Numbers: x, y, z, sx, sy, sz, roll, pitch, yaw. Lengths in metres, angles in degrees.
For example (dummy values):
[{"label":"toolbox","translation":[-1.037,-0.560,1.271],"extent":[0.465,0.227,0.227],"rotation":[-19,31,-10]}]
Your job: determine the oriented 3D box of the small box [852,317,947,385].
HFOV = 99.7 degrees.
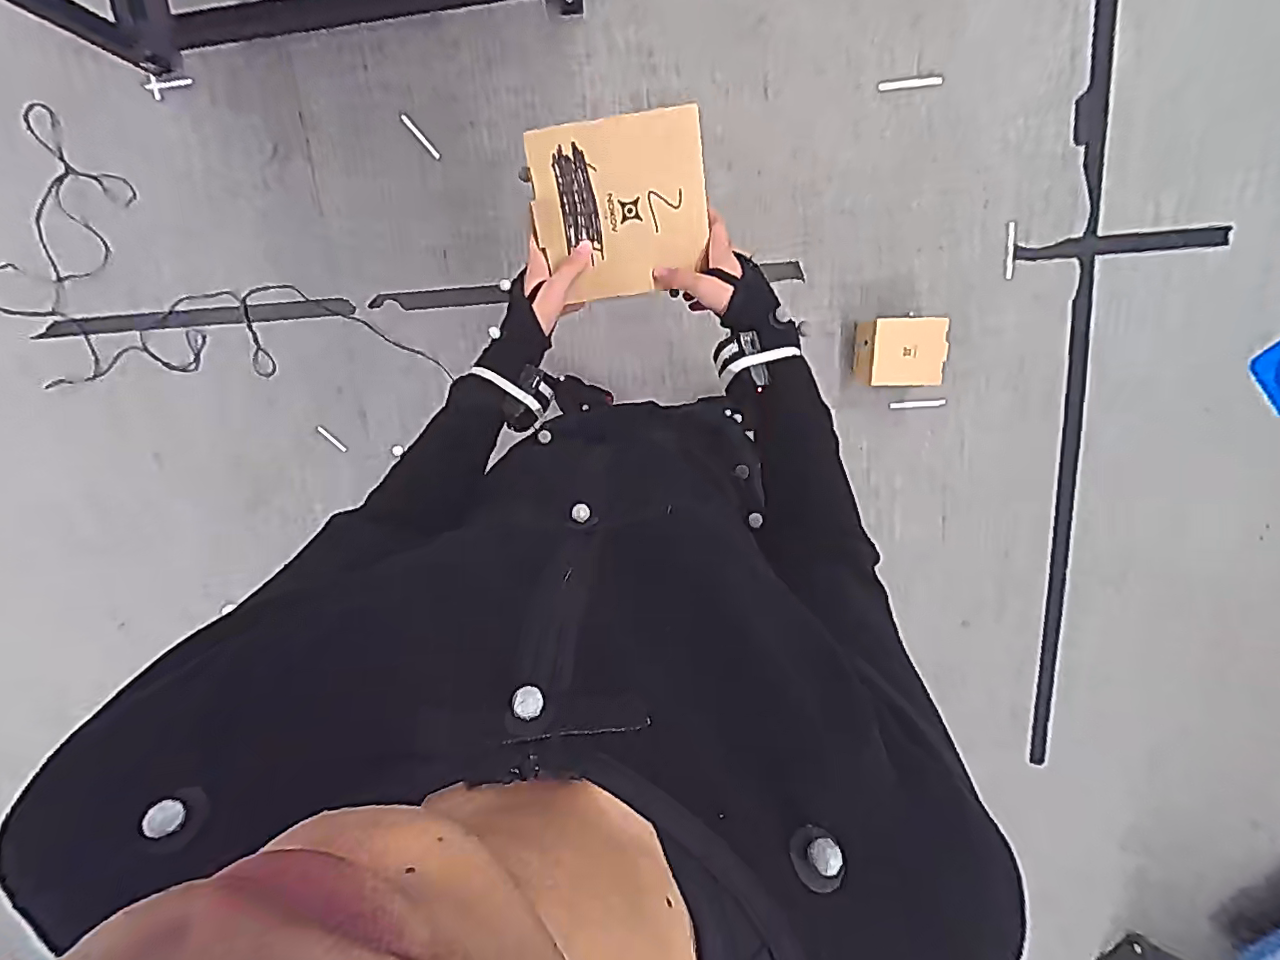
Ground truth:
[{"label":"small box","translation":[0.674,-0.339,1.426],"extent":[0.179,0.176,0.168],"rotation":[0,104,3]}]
